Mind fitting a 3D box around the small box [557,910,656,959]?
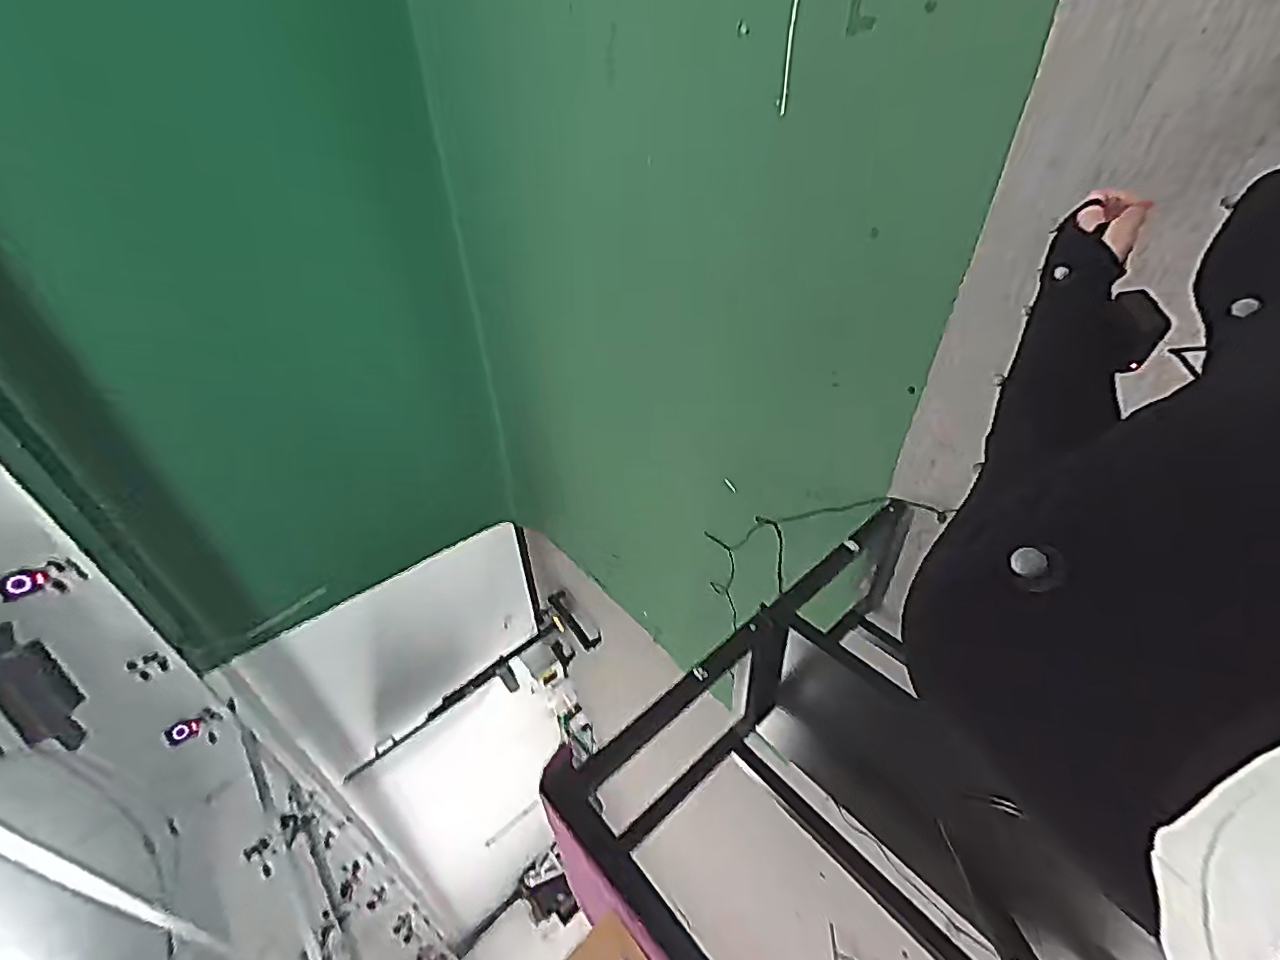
[{"bbox_3d":[-0.052,0.968,1.027,0.179,0.176,0.168,34,142,39],"label":"small box"}]
